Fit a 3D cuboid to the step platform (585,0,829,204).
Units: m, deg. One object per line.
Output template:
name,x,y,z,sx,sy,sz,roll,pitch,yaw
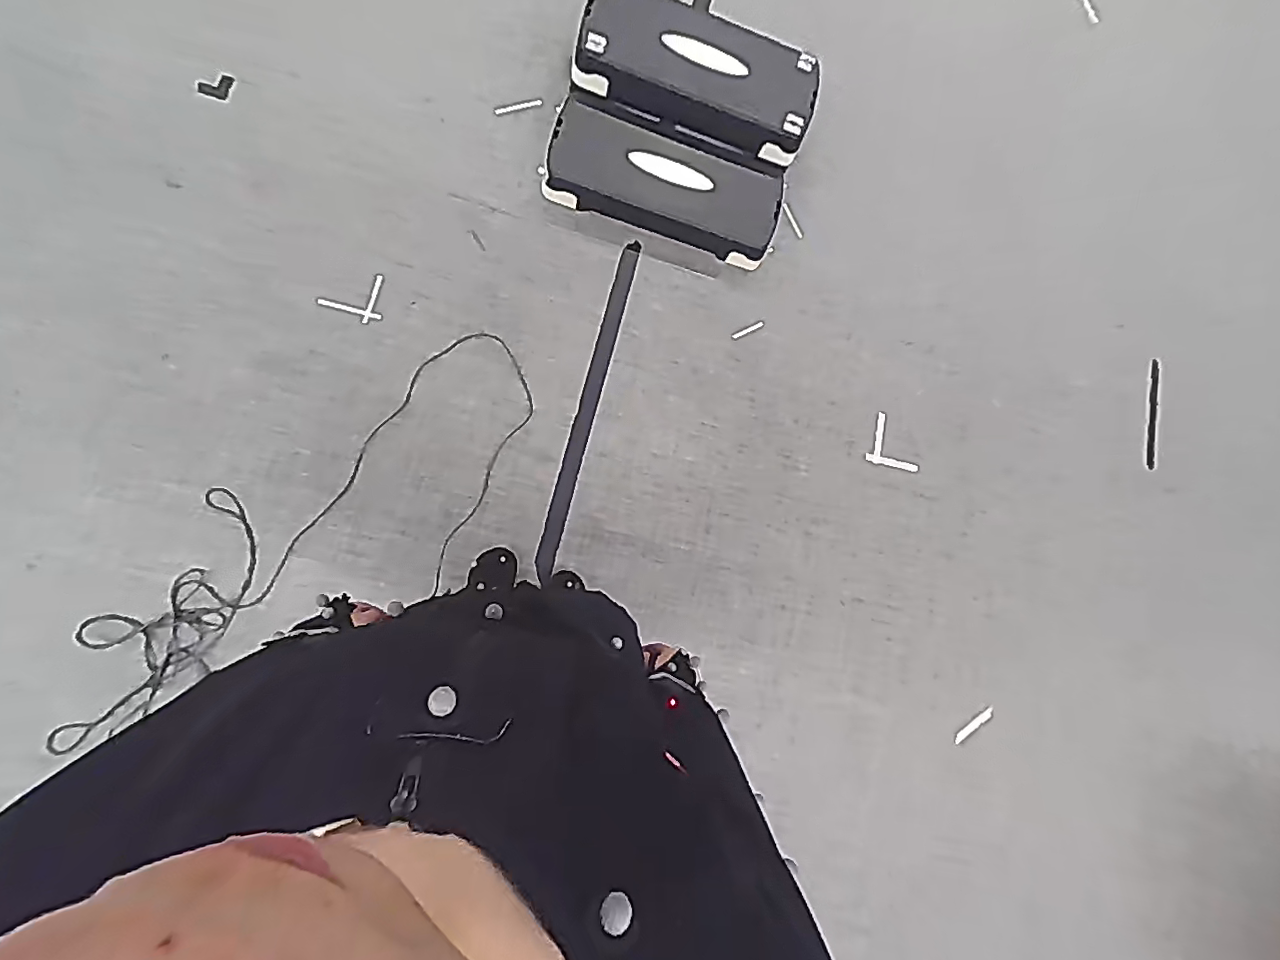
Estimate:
step platform,0.195,-1.093,1.566,0.684,0.204,0.286,20,79,-8
